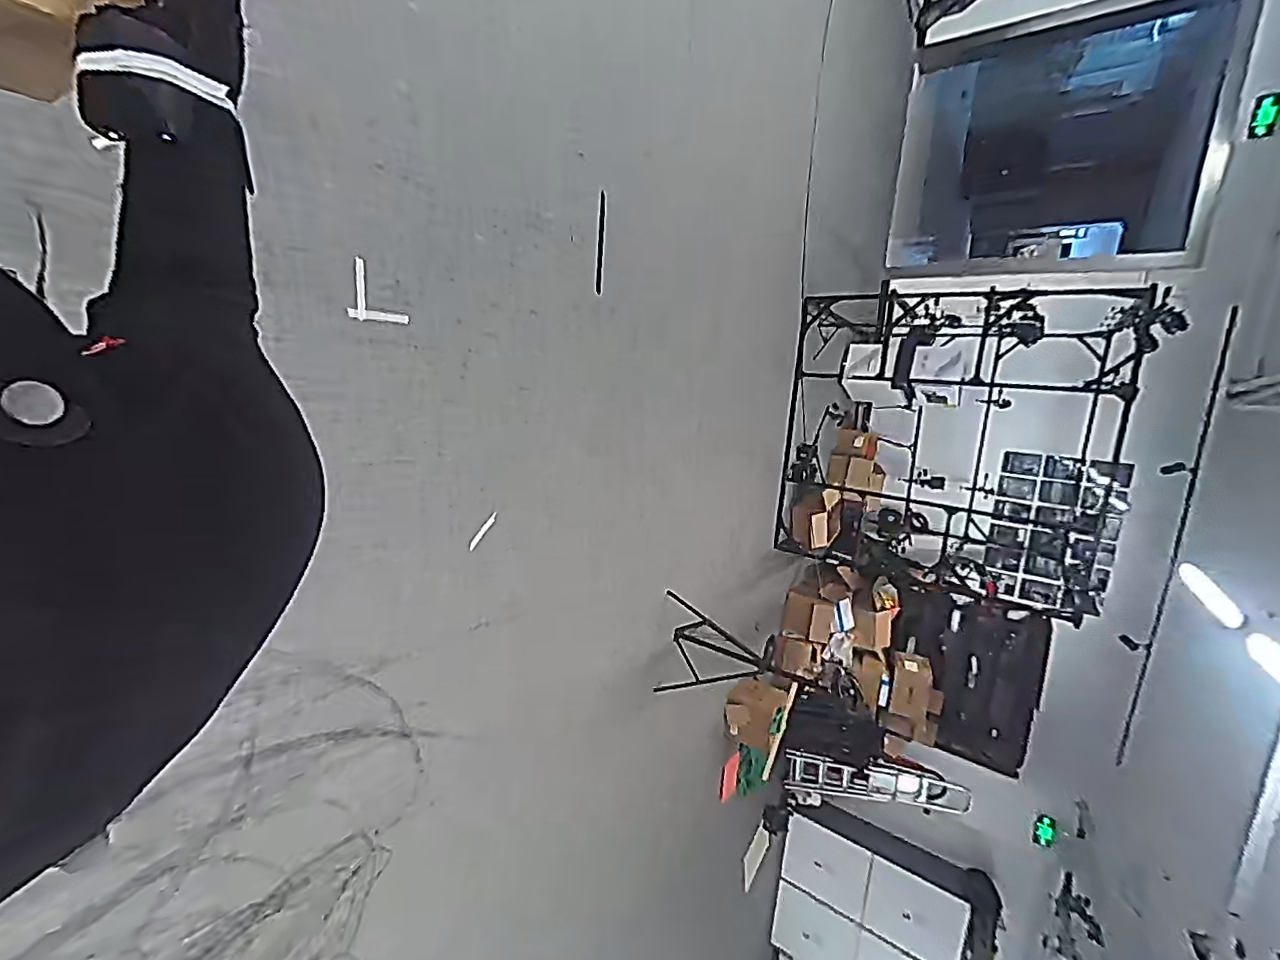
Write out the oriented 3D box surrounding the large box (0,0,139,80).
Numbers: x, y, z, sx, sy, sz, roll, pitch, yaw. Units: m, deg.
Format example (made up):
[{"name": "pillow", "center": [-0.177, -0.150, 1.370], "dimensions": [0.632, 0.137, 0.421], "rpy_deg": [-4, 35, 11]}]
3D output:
[{"name": "large box", "center": [-0.554, -0.467, 0.251], "dimensions": [0.408, 0.320, 0.320], "rpy_deg": [-11, 115, -55]}]
